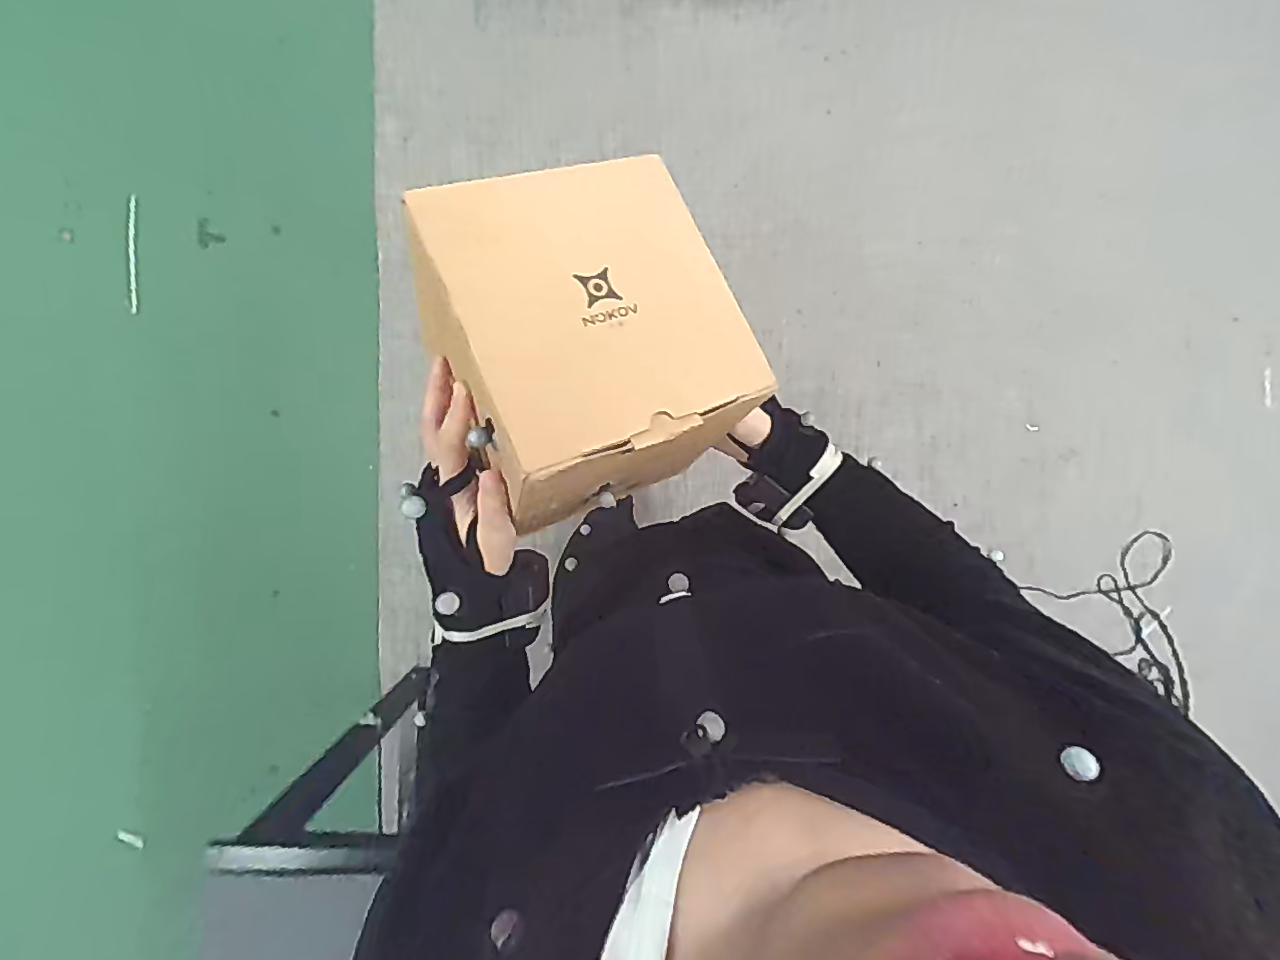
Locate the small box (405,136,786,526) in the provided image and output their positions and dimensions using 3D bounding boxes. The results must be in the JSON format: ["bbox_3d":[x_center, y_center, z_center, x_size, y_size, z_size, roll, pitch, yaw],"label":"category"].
[{"bbox_3d":[-0.043,-0.089,0.368,0.168,0.176,0.179,-21,80,-22],"label":"small box"}]
